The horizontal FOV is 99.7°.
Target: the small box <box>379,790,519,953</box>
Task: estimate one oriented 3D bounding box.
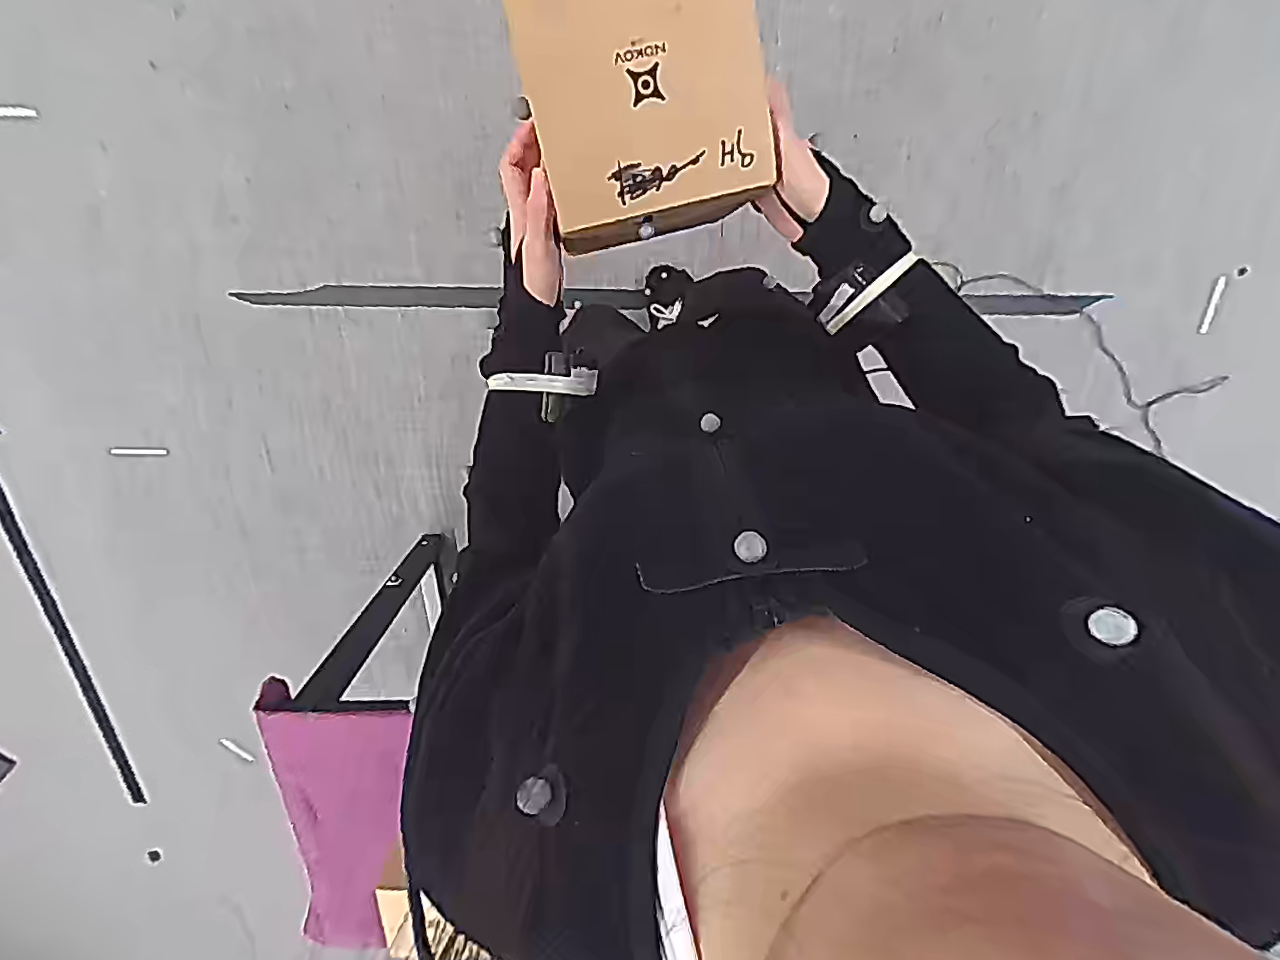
[{"bbox_3d":[-0.313,0.657,0.921,0.179,0.176,0.168,1,112,-2],"label":"small box"}]

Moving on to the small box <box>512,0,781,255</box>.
[{"bbox_3d":[-0.002,-0.301,0.443,0.168,0.176,0.179,-14,108,-2],"label":"small box"}]
